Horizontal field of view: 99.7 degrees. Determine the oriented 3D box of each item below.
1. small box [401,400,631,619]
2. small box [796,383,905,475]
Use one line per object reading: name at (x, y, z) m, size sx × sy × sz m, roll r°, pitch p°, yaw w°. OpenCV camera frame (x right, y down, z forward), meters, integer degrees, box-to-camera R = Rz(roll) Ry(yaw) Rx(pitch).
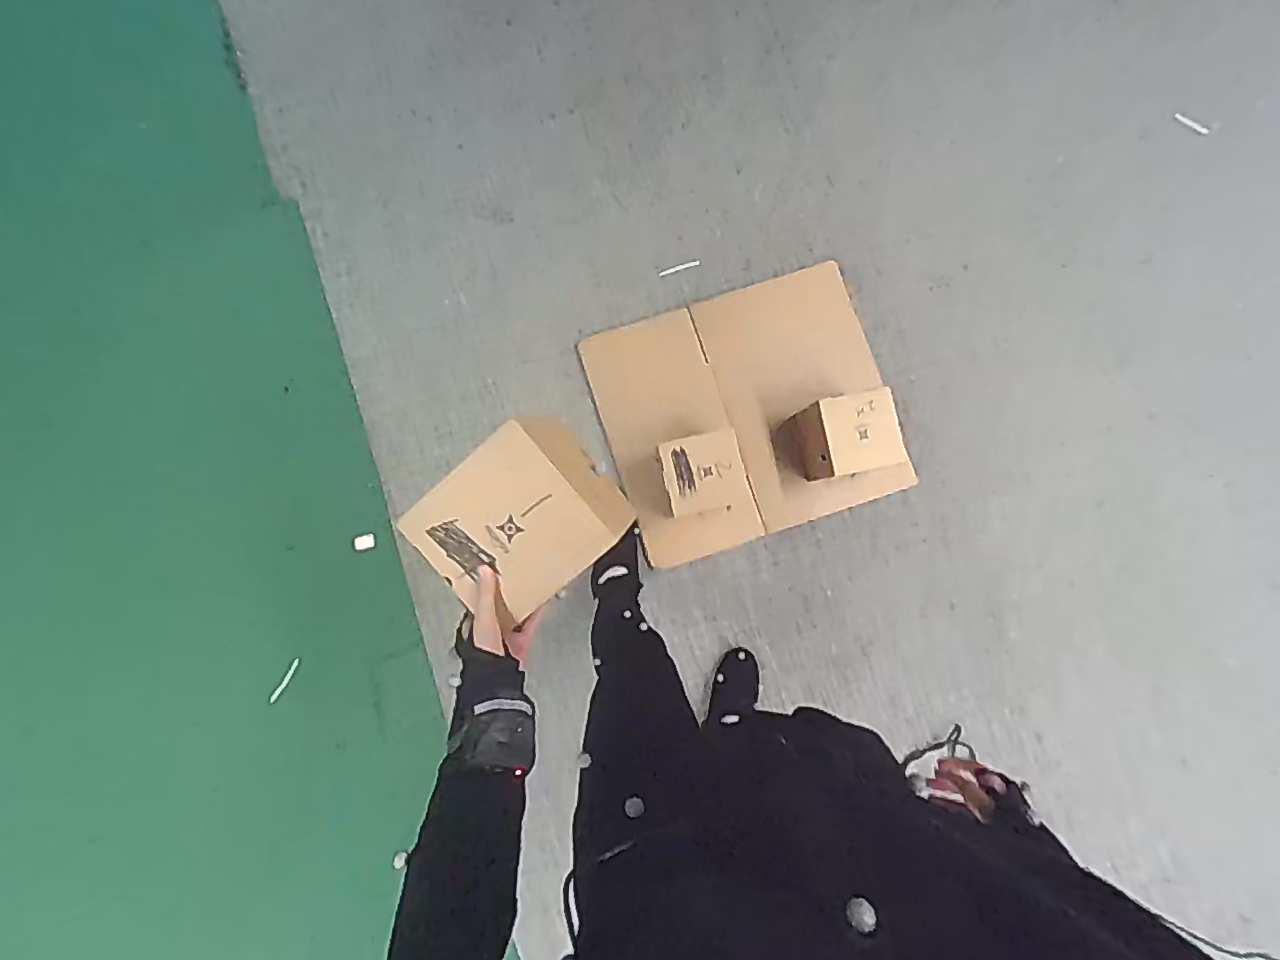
small box at (-0.129, 0.027, 0.637) m, size 0.179 × 0.176 × 0.168 m, roll -39°, pitch 90°, yaw 8°
small box at (0.479, -0.109, 1.254) m, size 0.168 × 0.176 × 0.179 m, roll -11°, pitch 86°, yaw -3°
